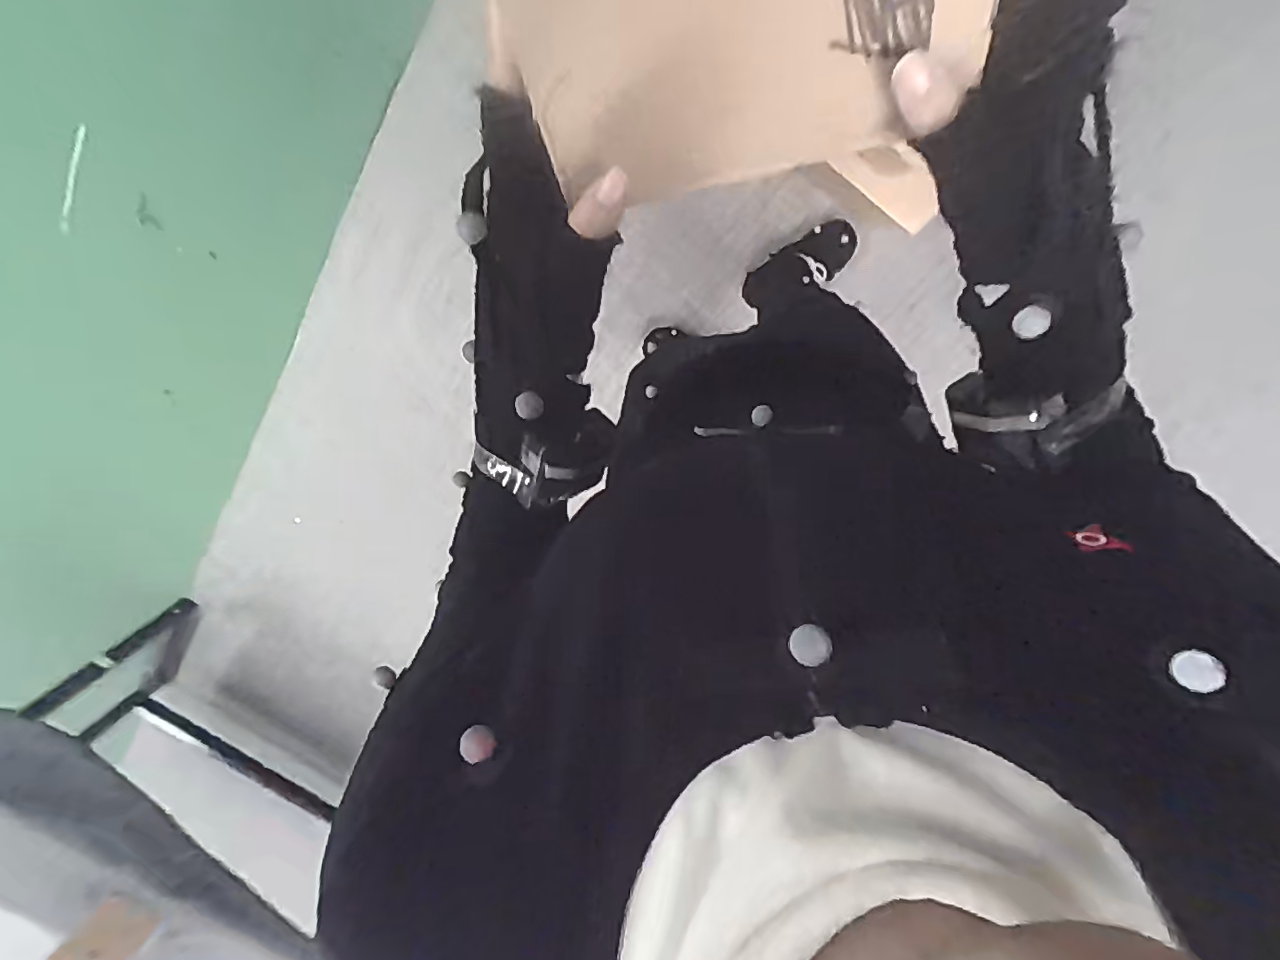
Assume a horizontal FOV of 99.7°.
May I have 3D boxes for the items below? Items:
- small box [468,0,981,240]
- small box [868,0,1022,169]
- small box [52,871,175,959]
[{"bbox_3d":[0.024,-0.241,0.225,0.179,0.176,0.168,-11,142,14],"label":"small box"},{"bbox_3d":[0.374,-0.567,0.761,0.168,0.176,0.179,35,118,-7],"label":"small box"},{"bbox_3d":[-1.451,1.234,1.498,0.179,0.176,0.168,37,116,-6],"label":"small box"}]
